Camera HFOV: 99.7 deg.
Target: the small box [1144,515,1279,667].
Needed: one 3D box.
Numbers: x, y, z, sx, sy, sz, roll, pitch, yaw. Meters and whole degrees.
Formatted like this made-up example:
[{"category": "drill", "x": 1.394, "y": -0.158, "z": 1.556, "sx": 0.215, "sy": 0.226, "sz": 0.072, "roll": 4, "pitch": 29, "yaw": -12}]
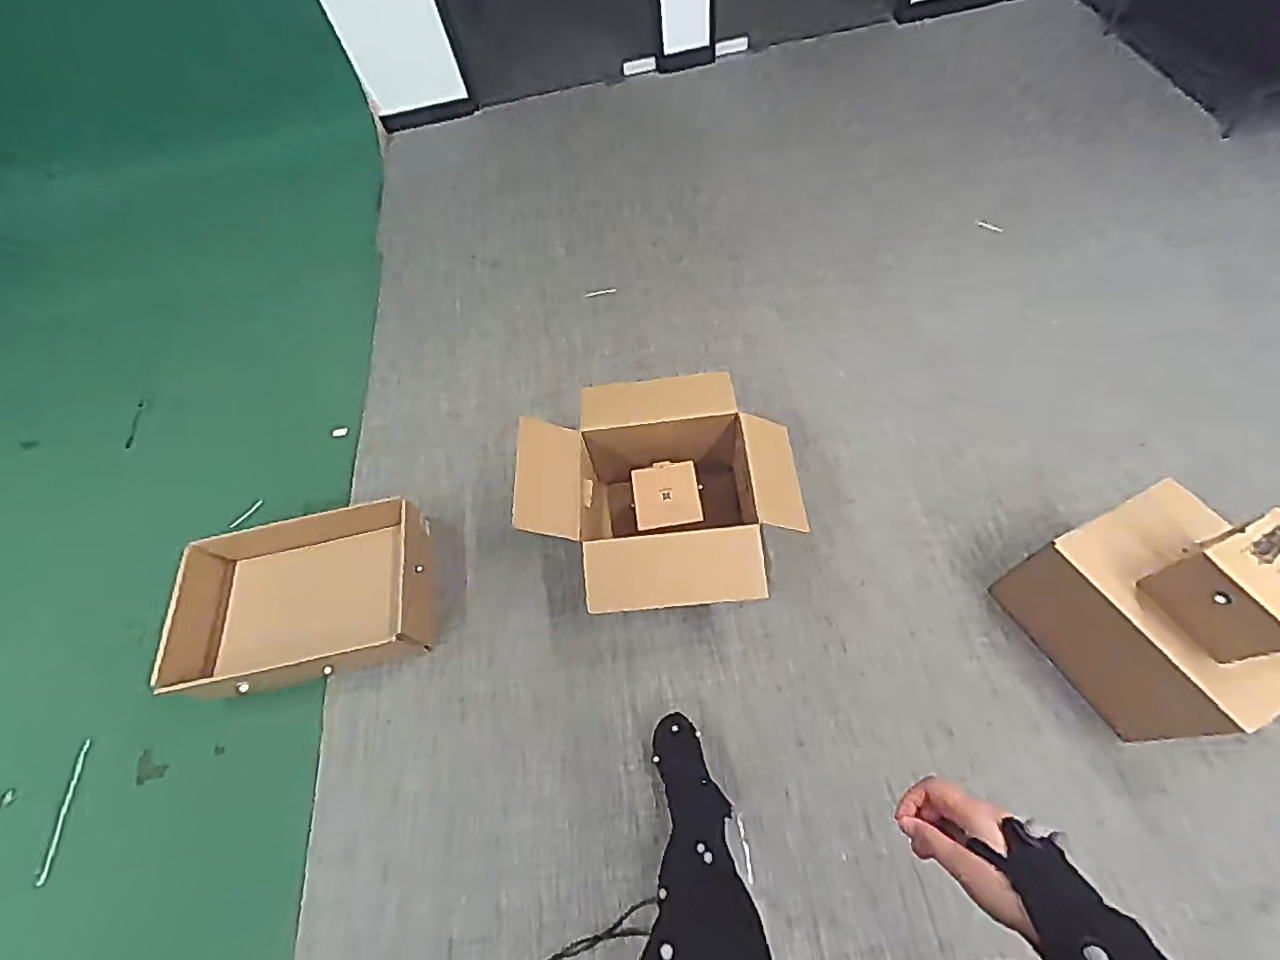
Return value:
[{"category": "small box", "x": 1.049, "y": 0.197, "z": 0.931, "sx": 0.168, "sy": 0.176, "sz": 0.179, "roll": -27, "pitch": 61, "yaw": -6}]
